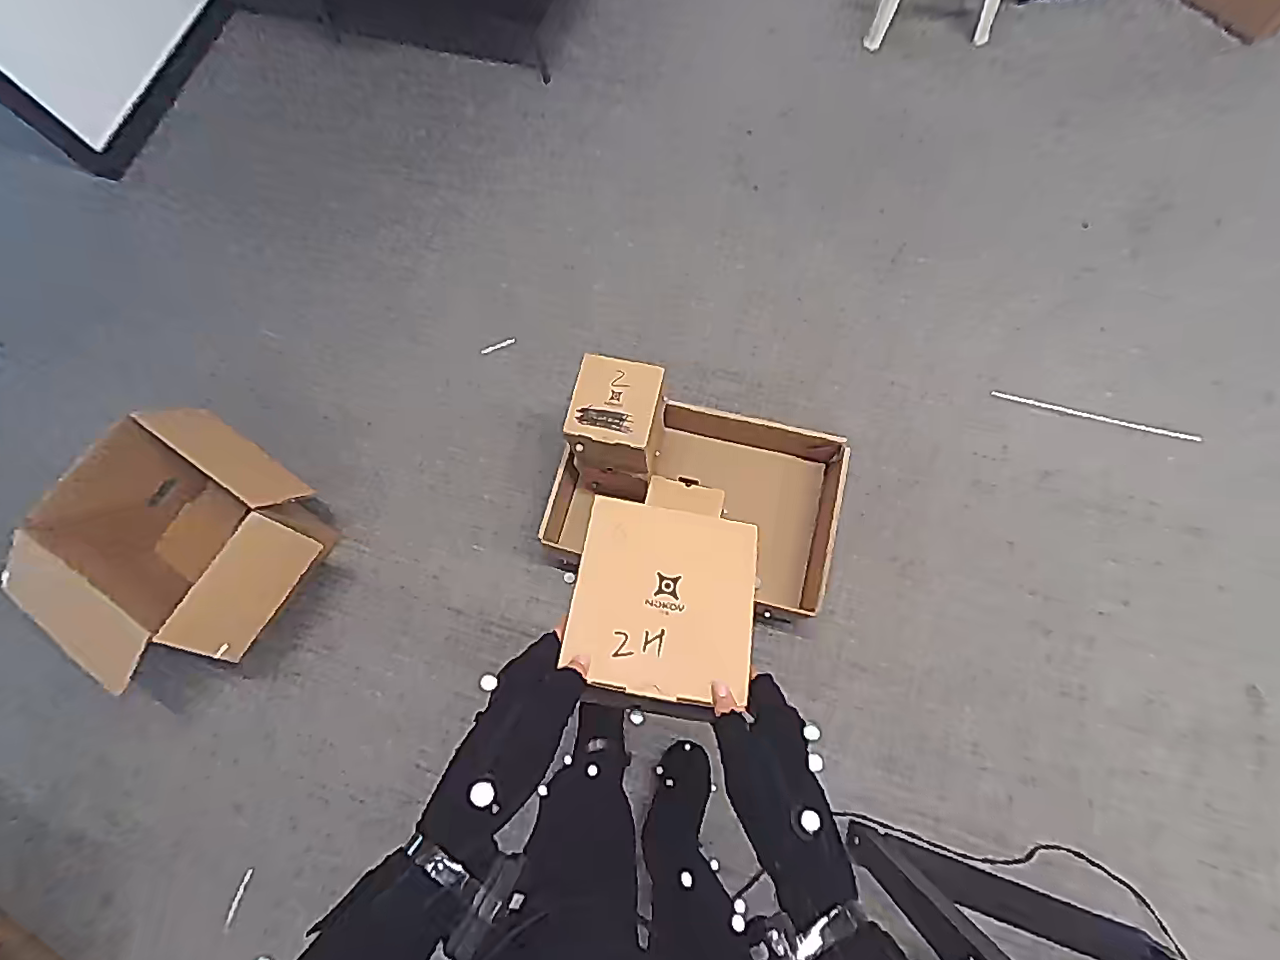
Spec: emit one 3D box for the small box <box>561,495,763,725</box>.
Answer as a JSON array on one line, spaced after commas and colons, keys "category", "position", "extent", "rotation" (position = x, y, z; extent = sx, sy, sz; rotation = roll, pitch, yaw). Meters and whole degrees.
[{"category": "small box", "position": [0.017, 0.142, 0.561], "extent": [0.168, 0.176, 0.179], "rotation": [12, 62, -1]}]
